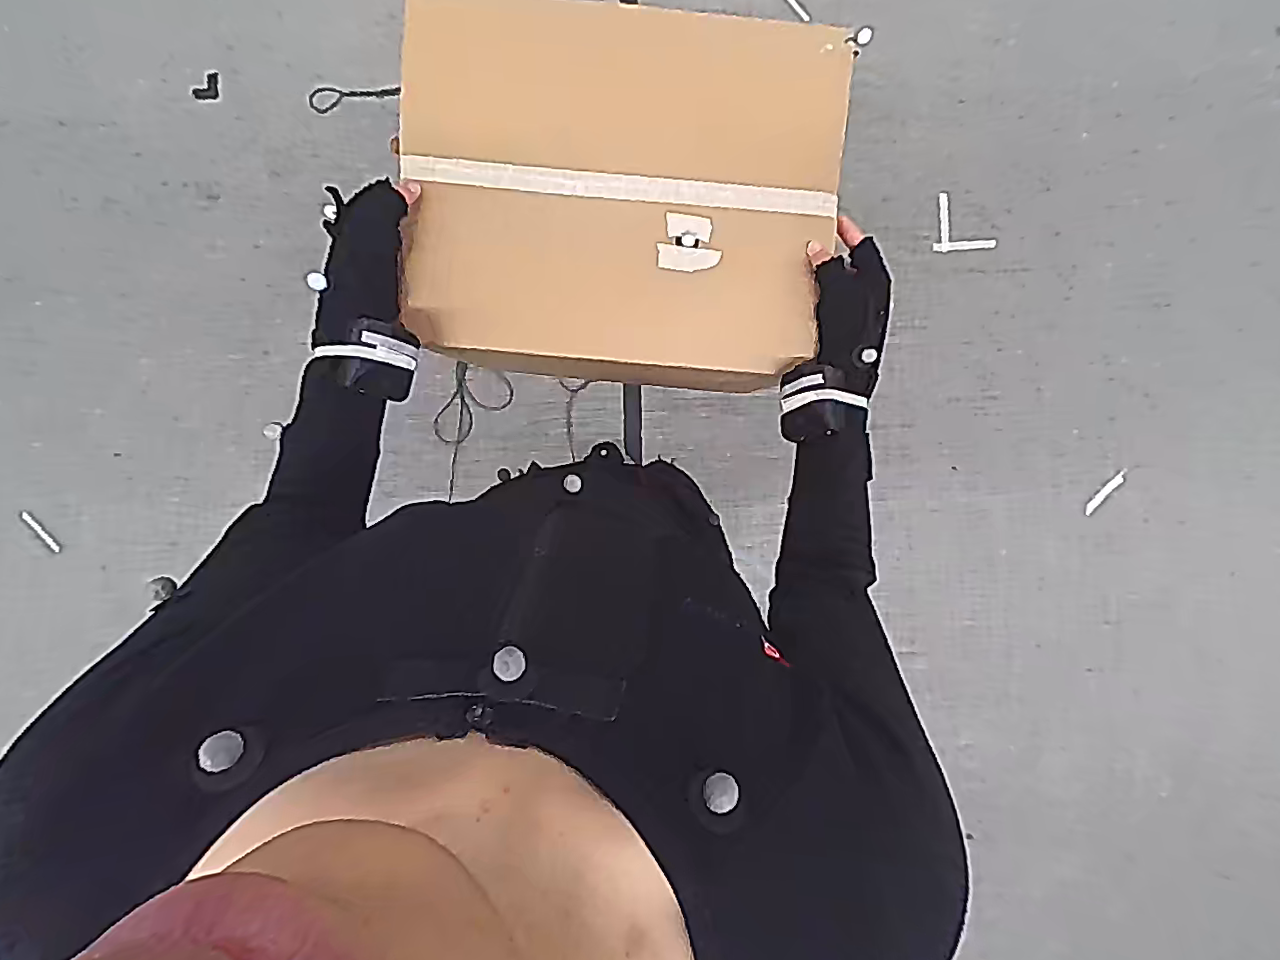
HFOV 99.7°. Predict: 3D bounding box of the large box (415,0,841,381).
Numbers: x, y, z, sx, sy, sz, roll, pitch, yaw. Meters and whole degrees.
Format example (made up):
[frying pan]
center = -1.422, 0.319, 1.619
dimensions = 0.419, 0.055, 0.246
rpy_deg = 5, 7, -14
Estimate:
[large box]
center = -0.021, -0.298, 0.669
dimensions = 0.408, 0.320, 0.320
rpy_deg = 4, 97, -2
